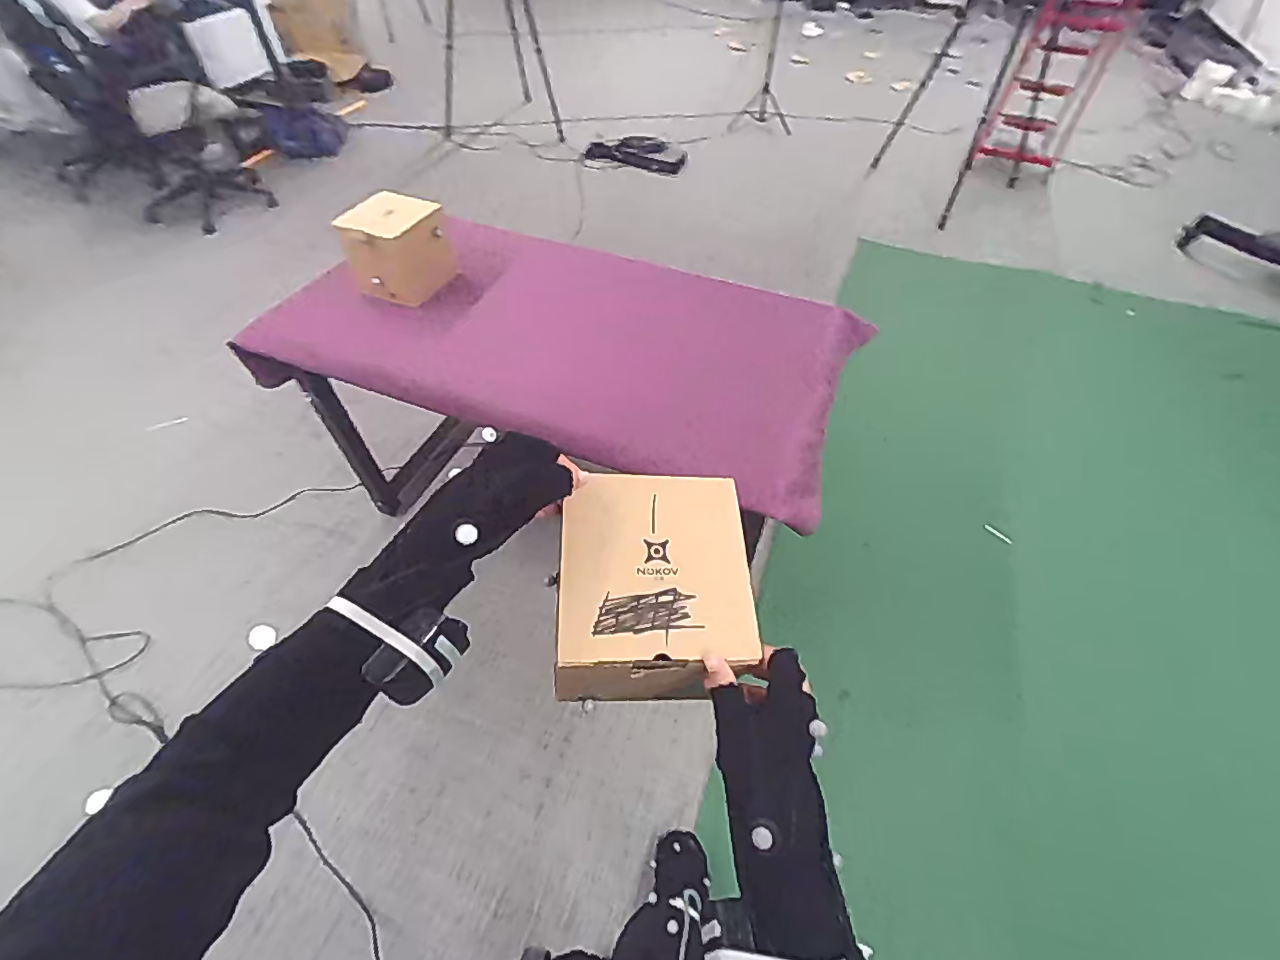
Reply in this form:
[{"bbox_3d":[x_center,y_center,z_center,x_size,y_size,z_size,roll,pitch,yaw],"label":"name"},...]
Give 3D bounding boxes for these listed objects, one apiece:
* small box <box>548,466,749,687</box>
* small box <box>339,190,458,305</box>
[{"bbox_3d":[-0.003,0.104,0.540,0.168,0.176,0.179,1,58,-8],"label":"small box"},{"bbox_3d":[-0.546,-0.538,1.255,0.168,0.176,0.179,19,54,14],"label":"small box"}]
